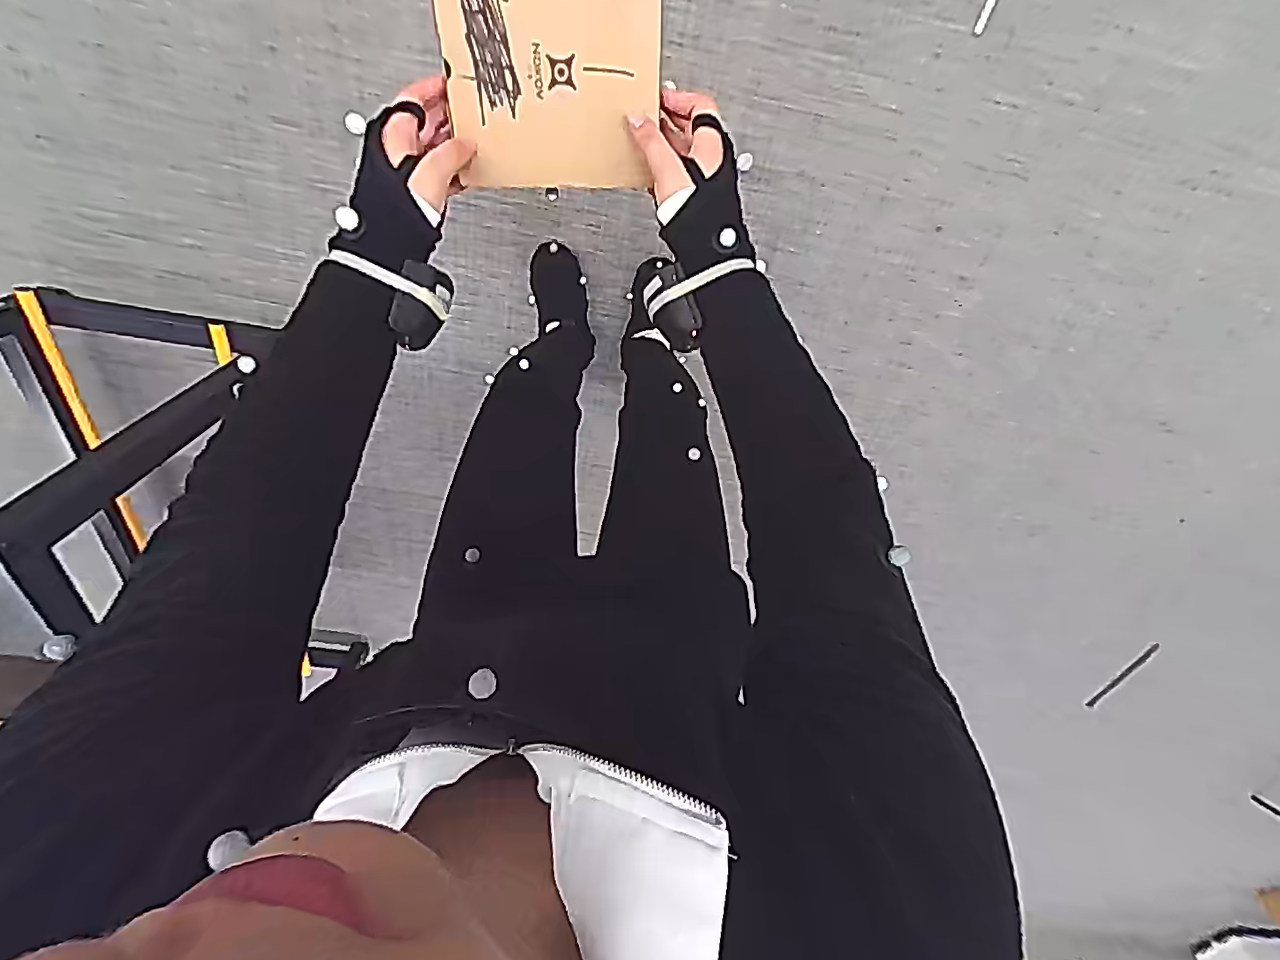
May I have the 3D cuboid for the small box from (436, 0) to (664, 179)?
[{"bbox_3d":[-0.069,-0.377,0.498,0.179,0.176,0.168,0,123,-1],"label":"small box"}]
